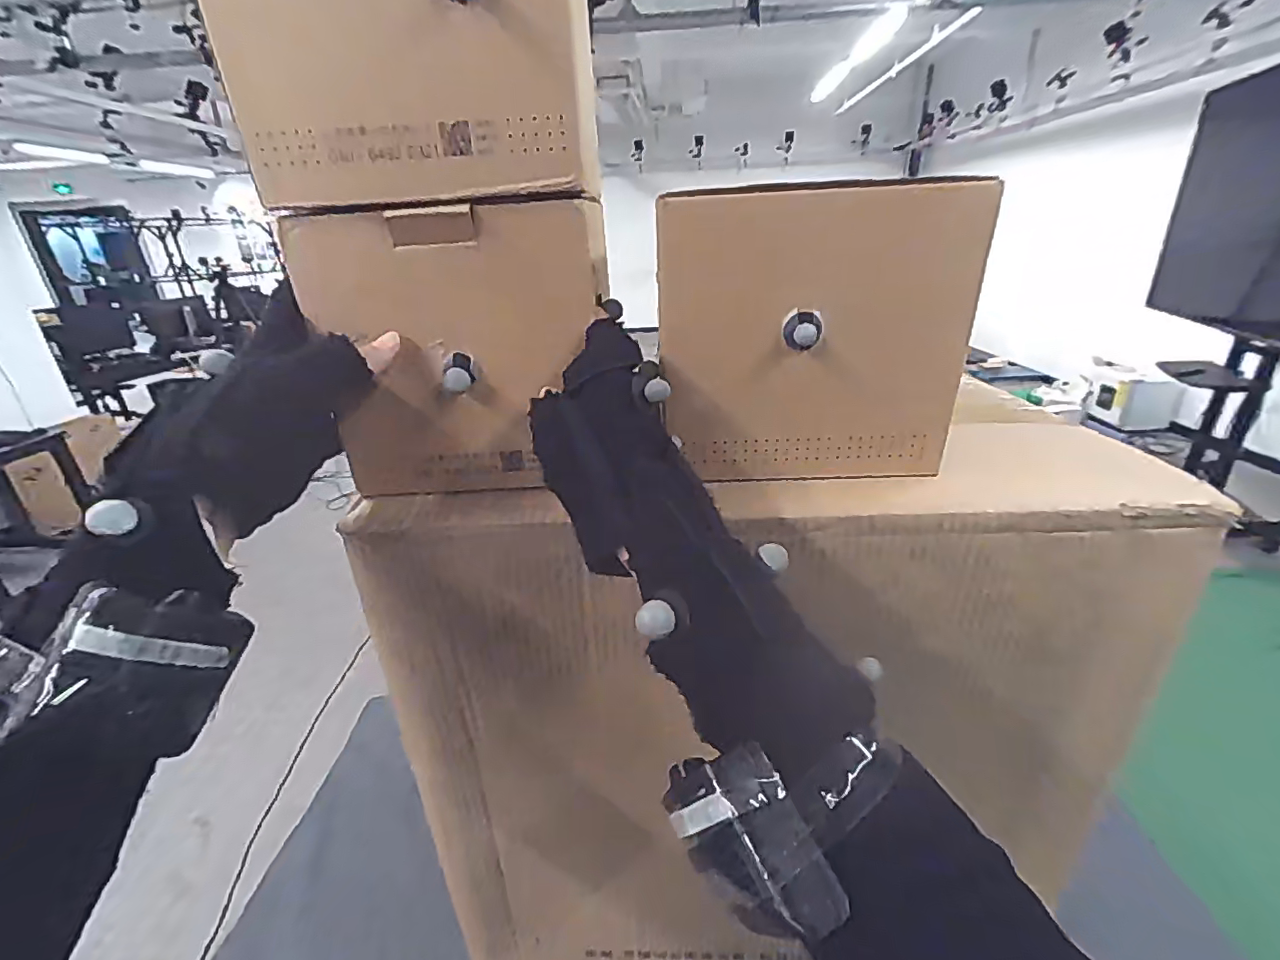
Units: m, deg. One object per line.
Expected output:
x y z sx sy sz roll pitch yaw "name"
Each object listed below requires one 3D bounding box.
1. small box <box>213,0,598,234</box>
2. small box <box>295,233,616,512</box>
-0.115 -0.245 0.323 0.168 0.176 0.179 -2 25 0 "small box"
-0.107 -0.084 0.407 0.168 0.176 0.179 -5 26 -1 "small box"
